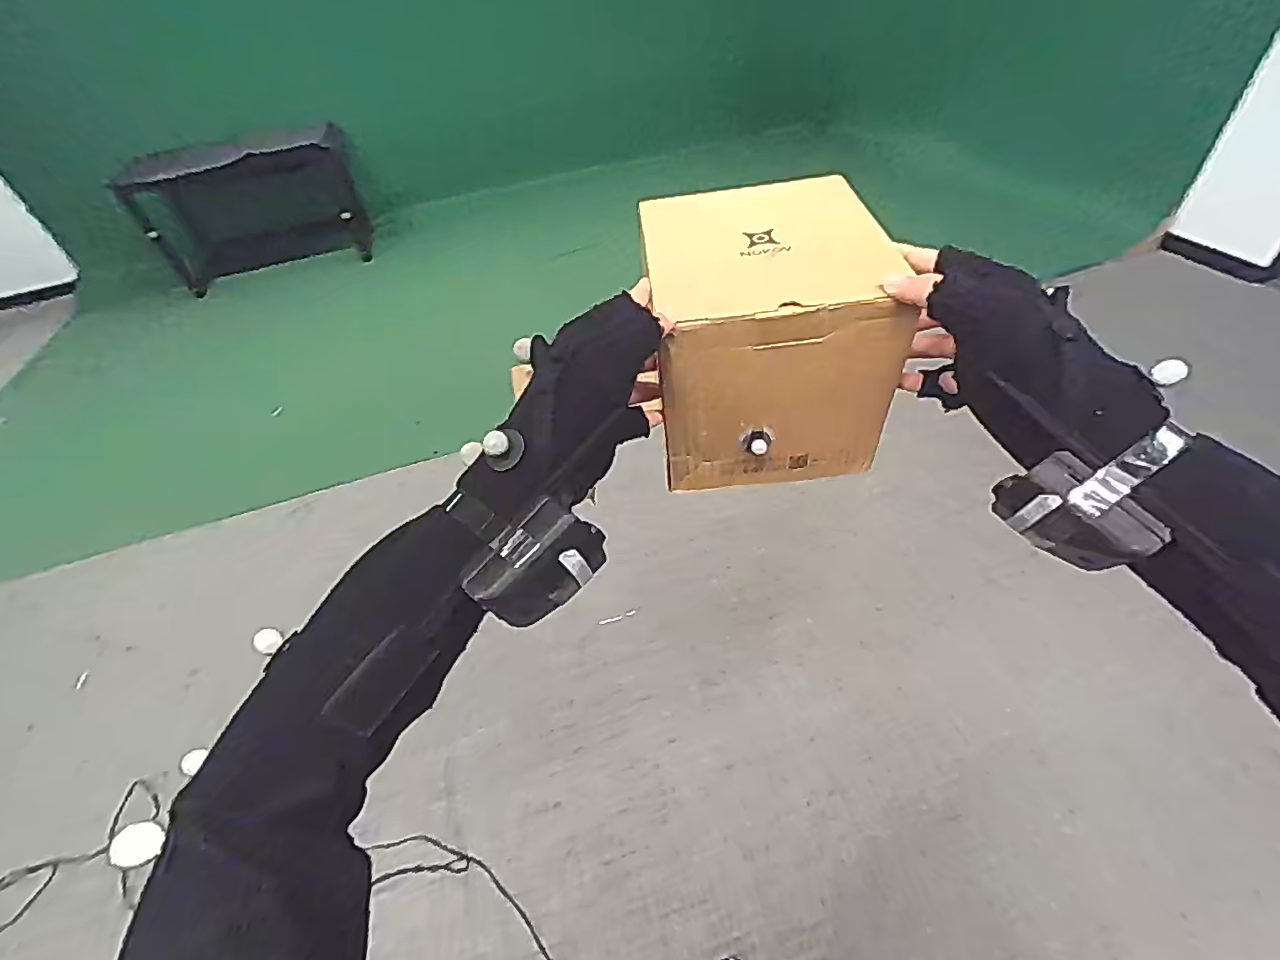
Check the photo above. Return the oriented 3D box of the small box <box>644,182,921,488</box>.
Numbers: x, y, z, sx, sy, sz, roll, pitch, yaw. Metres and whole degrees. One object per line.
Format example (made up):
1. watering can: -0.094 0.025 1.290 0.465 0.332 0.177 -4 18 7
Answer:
1. small box: 0.093 -0.116 0.447 0.168 0.176 0.179 -6 51 2

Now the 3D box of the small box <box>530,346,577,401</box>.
1. small box: -0.393 -0.479 2.462 0.168 0.176 0.179 -15 45 -3
